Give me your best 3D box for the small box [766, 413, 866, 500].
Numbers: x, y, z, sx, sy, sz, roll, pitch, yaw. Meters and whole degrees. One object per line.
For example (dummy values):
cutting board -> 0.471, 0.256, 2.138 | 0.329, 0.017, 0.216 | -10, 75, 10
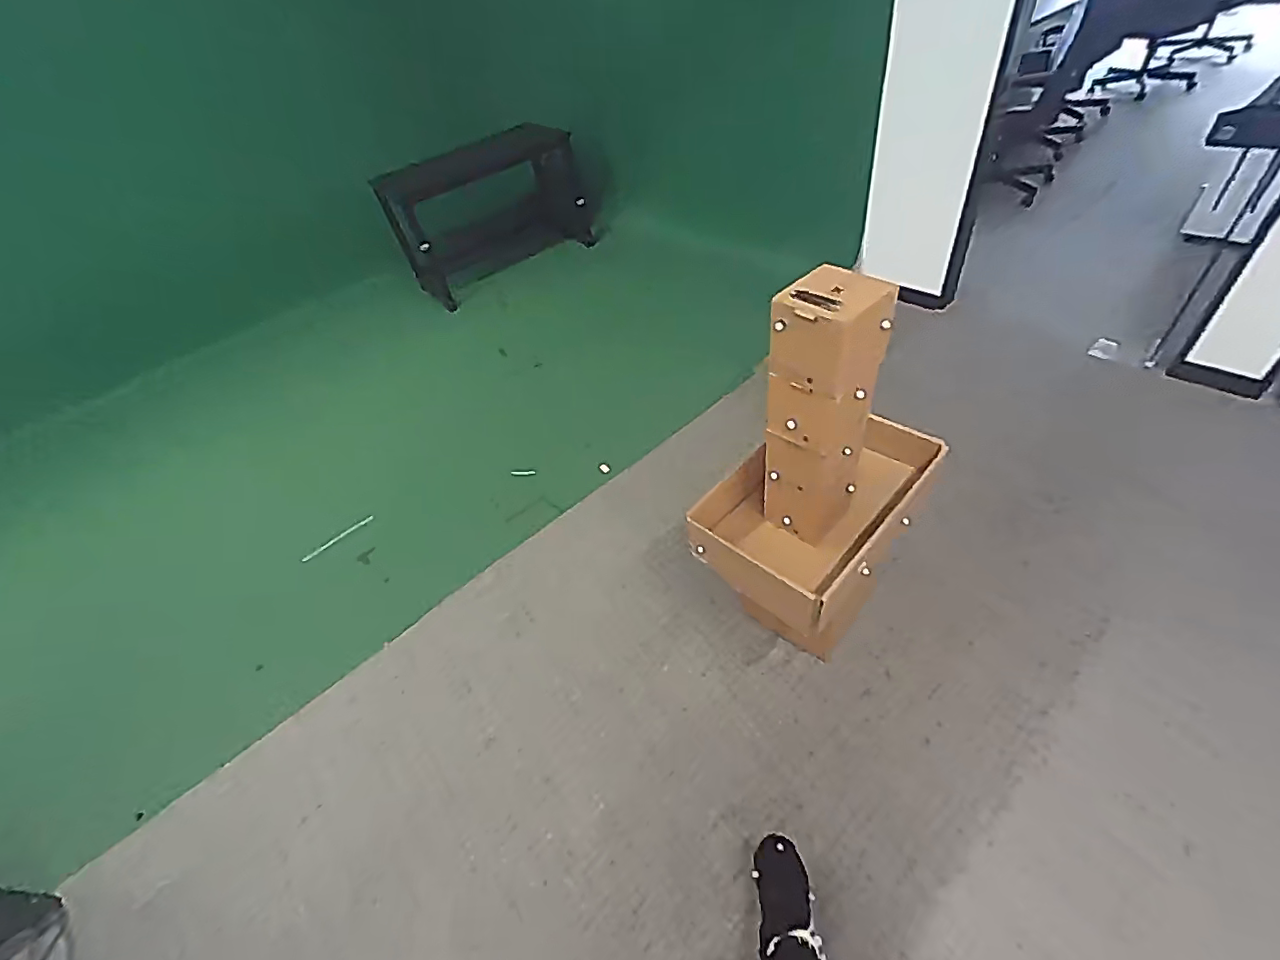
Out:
small box -> 0.425, -0.081, 1.320 | 0.168, 0.176, 0.179 | 30, 57, 34

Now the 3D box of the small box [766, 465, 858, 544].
small box -> 0.447, 0.033, 1.435 | 0.179, 0.176, 0.168 | -38, 50, -25

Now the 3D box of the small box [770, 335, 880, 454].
small box -> 0.402, -0.190, 1.202 | 0.168, 0.176, 0.179 | 30, 58, 33
